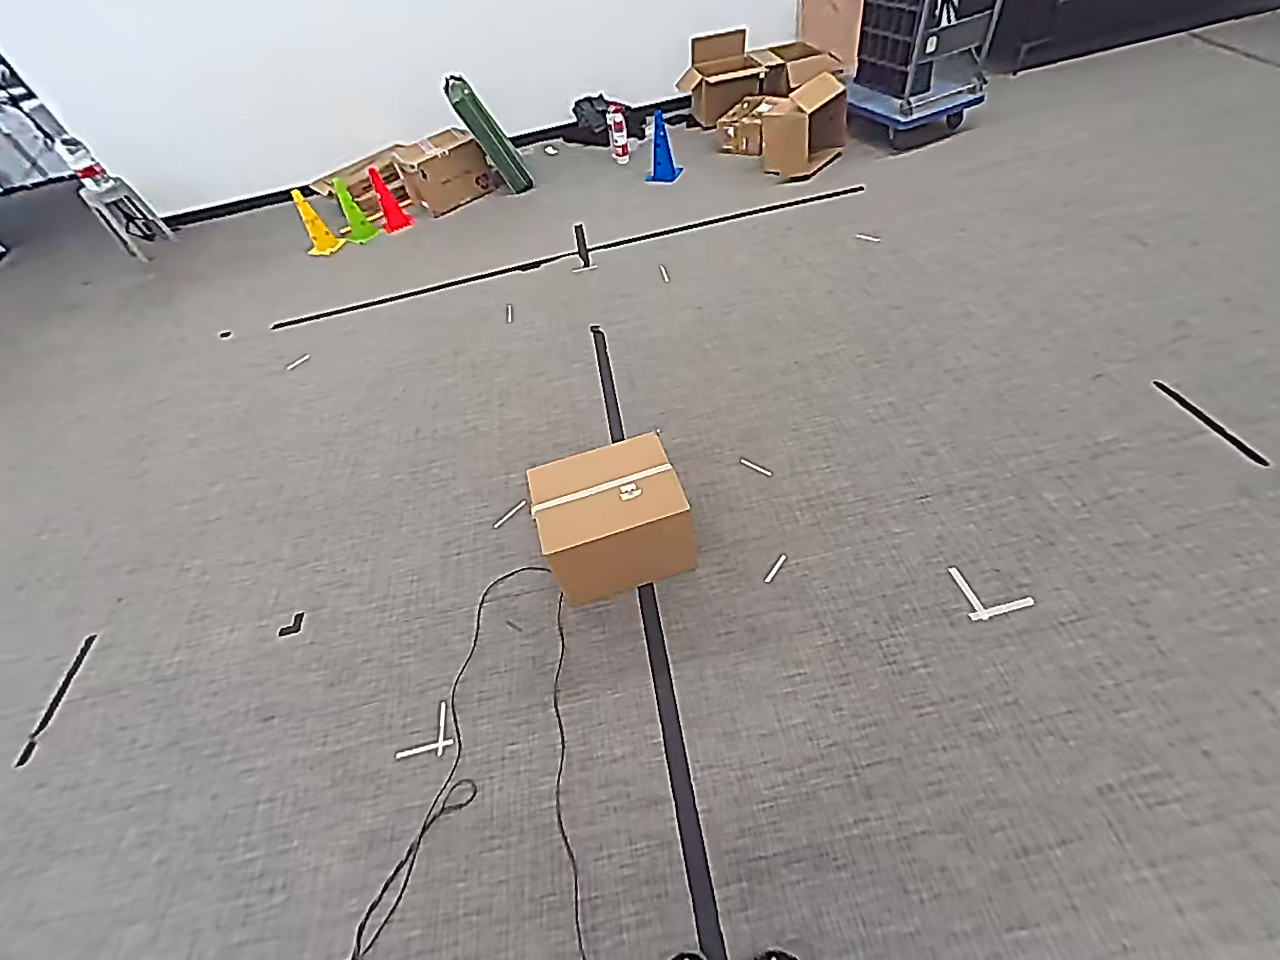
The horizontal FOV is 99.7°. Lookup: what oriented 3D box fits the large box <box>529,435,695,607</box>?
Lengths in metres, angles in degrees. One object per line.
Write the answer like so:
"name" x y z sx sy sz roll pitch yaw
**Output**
"large box" -0.079 0.125 1.614 0.408 0.320 0.320 -17 51 -5
